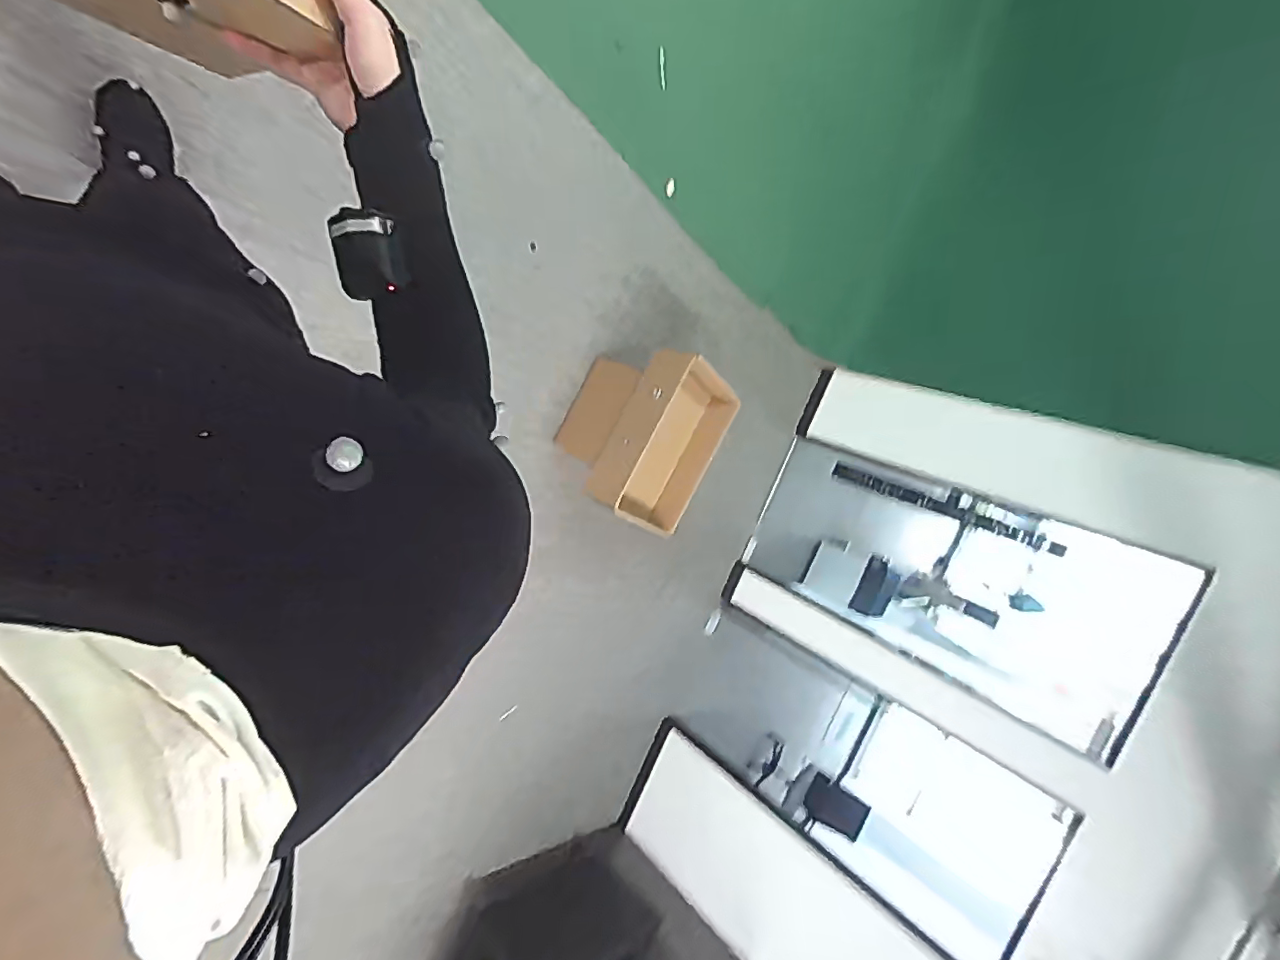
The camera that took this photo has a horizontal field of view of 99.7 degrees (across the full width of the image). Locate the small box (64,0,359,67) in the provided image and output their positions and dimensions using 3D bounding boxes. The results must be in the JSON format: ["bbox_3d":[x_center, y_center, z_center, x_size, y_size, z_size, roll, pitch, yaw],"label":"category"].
[{"bbox_3d":[-0.325,-0.415,0.365,0.179,0.176,0.168,-24,120,-64],"label":"small box"}]
